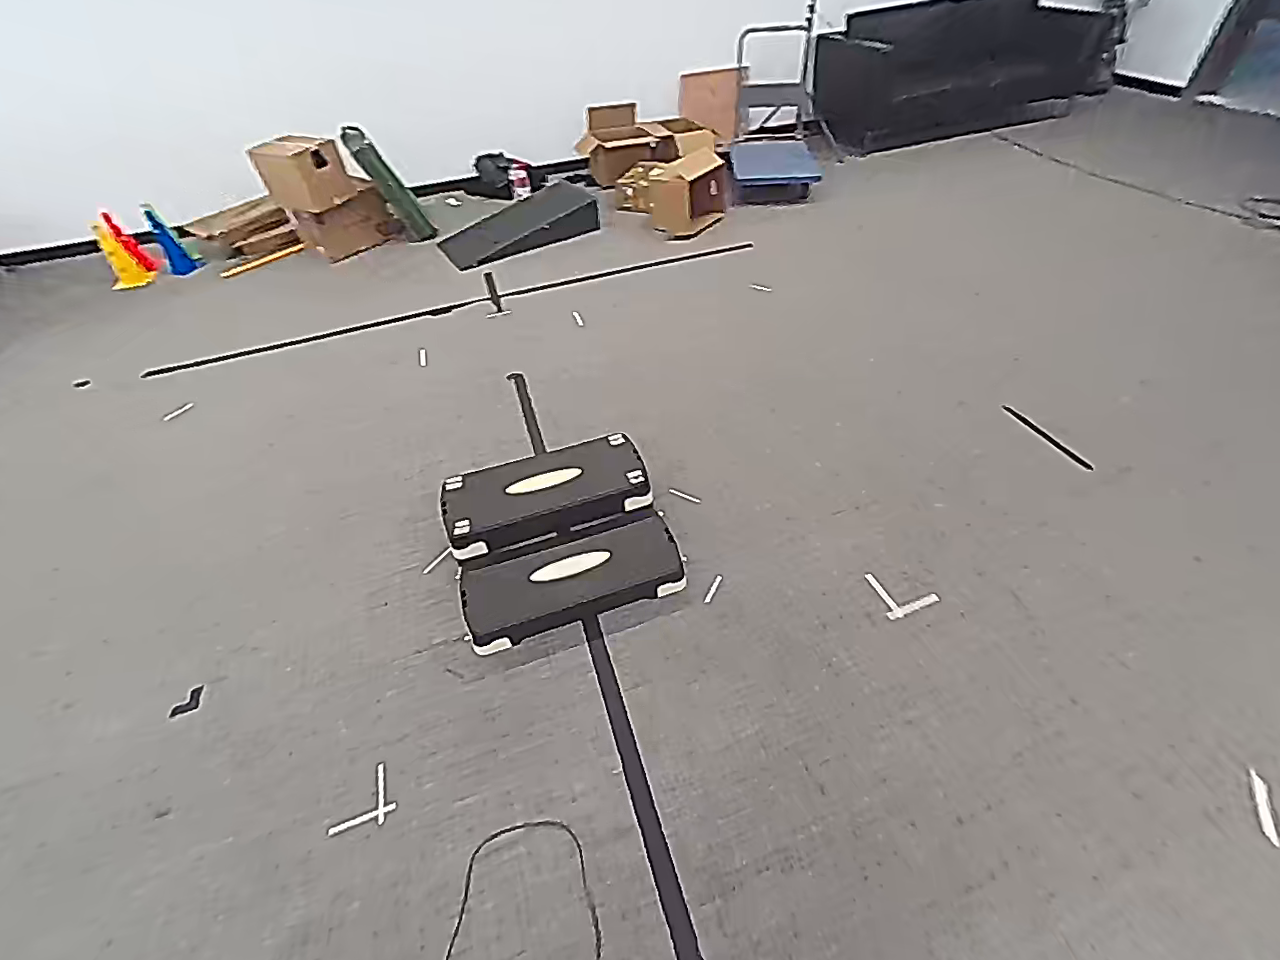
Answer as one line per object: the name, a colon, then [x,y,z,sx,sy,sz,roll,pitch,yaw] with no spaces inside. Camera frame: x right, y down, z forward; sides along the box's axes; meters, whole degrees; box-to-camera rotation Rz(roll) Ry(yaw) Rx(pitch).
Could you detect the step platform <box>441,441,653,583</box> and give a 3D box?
step platform: [-0.303,0.093,1.811,0.684,0.204,0.286,-16,48,-12]
